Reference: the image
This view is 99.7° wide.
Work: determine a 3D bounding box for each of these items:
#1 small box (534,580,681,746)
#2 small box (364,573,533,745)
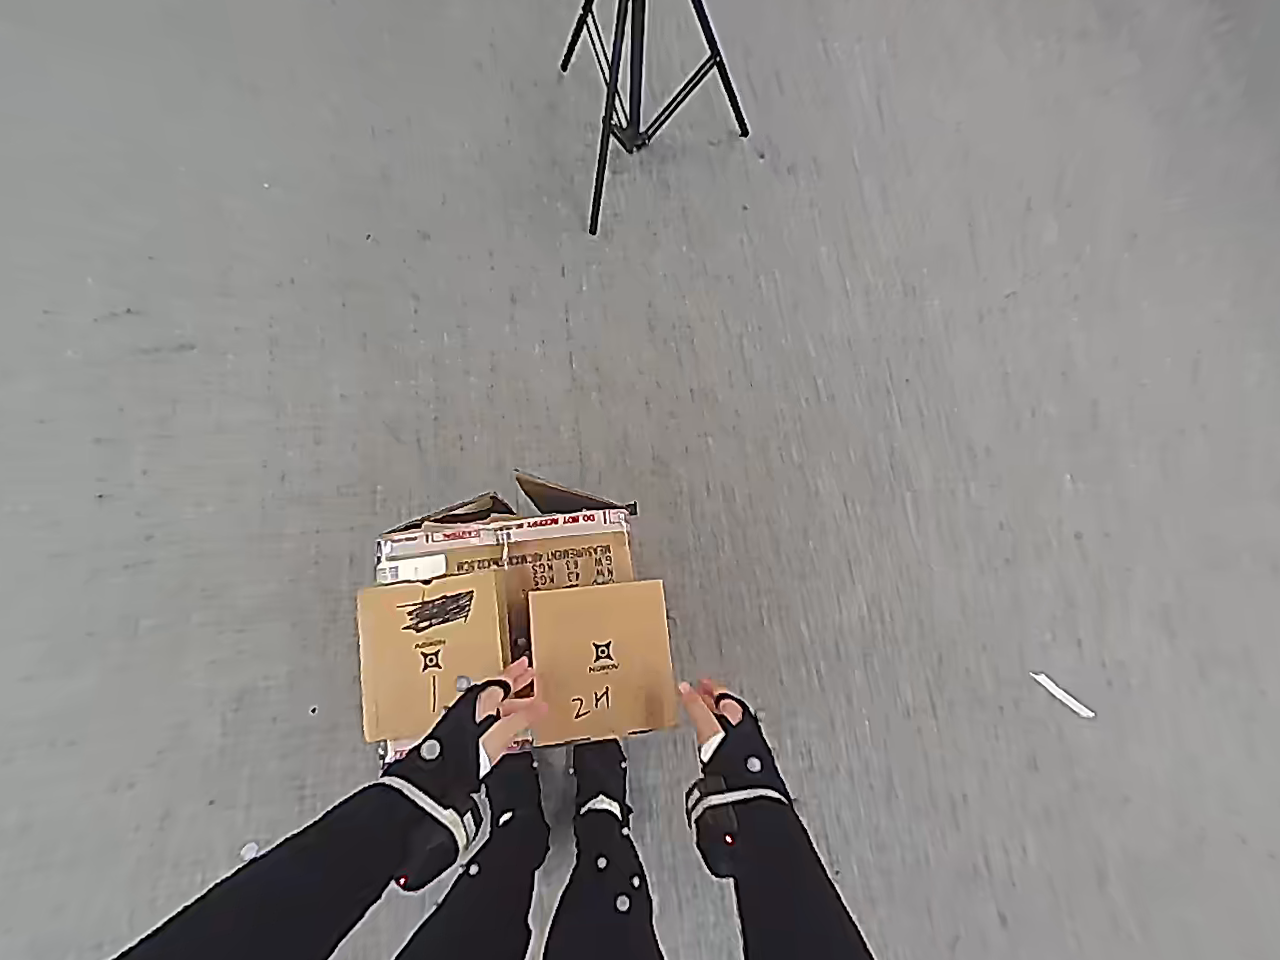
[{"bbox_3d":[-0.047,0.233,0.720,0.168,0.176,0.179,-5,78,-5],"label":"small box"},{"bbox_3d":[-0.241,0.223,0.712,0.168,0.176,0.179,-8,79,-3],"label":"small box"}]
